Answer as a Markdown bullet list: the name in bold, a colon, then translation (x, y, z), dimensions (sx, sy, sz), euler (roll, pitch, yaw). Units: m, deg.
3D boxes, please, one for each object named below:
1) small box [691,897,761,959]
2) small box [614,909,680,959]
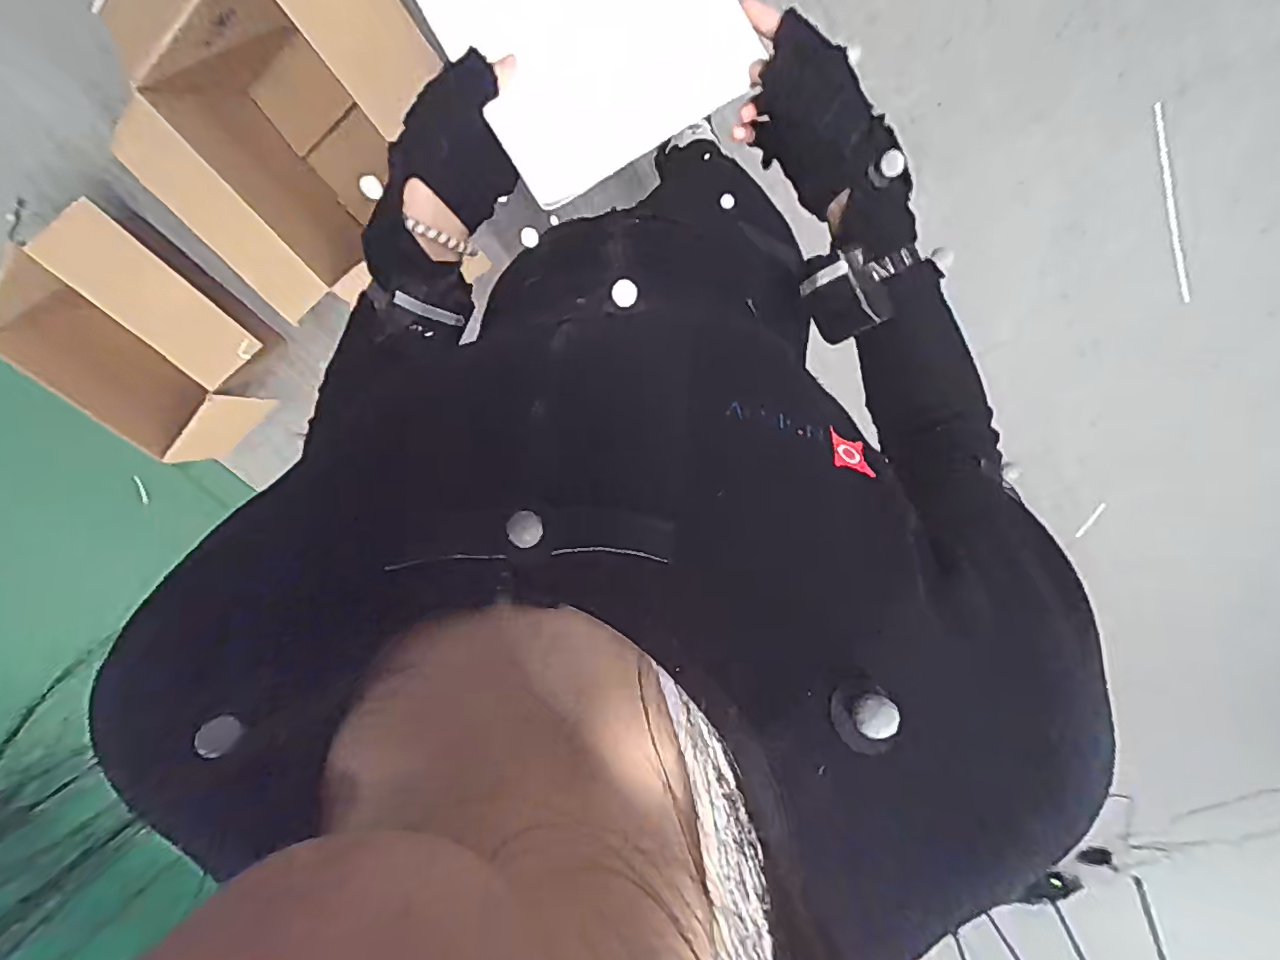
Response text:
- **small box**: translation (0.272, 1.469, 1.738), dimensions (0.168, 0.176, 0.179), euler (-26, 120, 19)
- **small box**: translation (0.028, 1.593, 1.835), dimensions (0.168, 0.176, 0.179), euler (-26, 119, 19)
